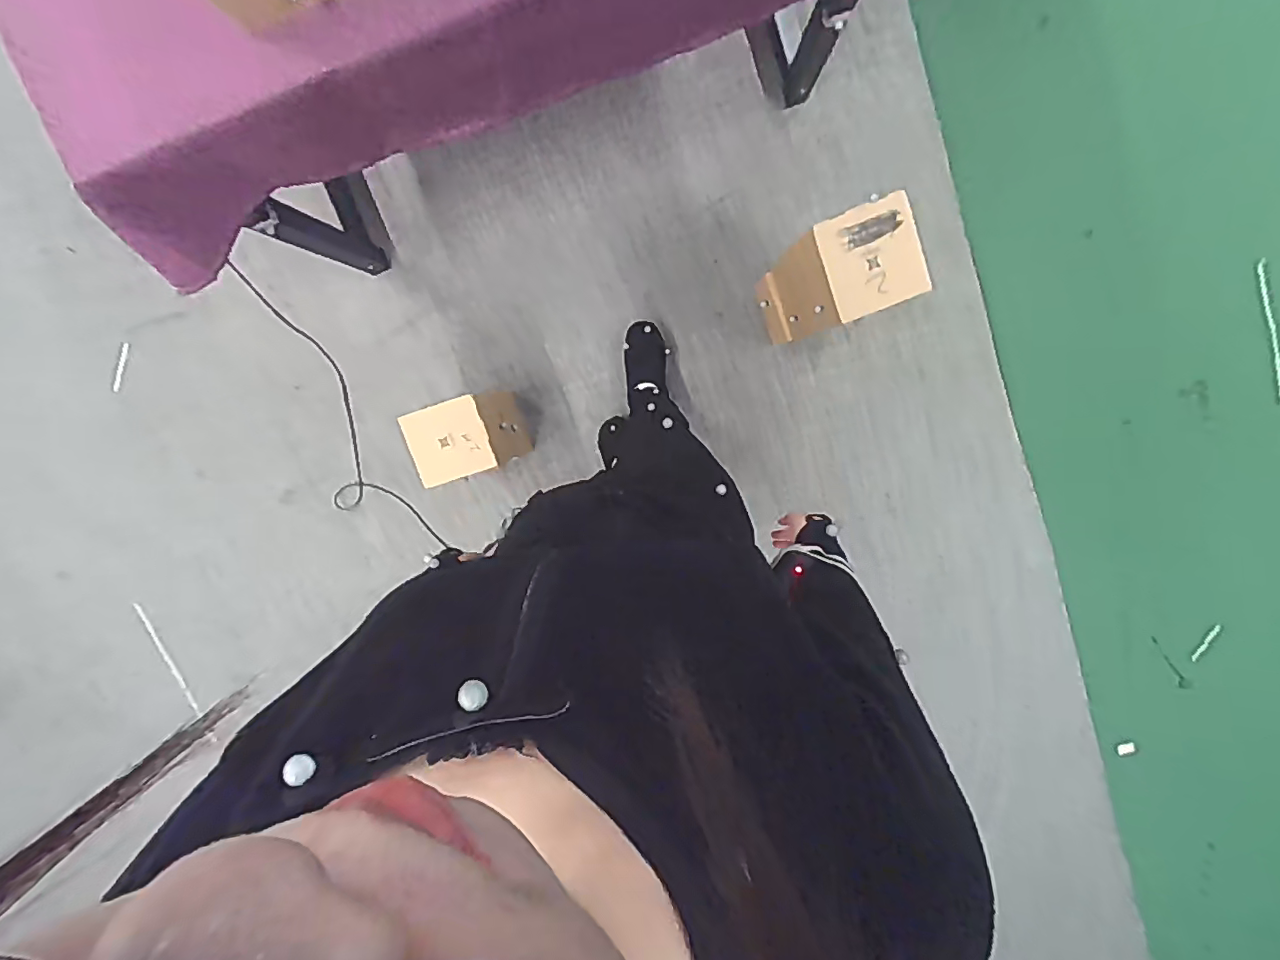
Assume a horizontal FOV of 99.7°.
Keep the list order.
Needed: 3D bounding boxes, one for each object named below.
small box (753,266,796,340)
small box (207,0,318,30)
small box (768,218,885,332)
[{"bbox_3d":[0.387,-0.452,1.321,0.179,0.176,0.168,-21,100,4],"label":"small box"},{"bbox_3d":[-0.433,-0.634,0.563,0.179,0.176,0.168,-21,99,4],"label":"small box"},{"bbox_3d":[0.392,-0.426,1.160,0.168,0.176,0.179,-19,99,3],"label":"small box"}]
